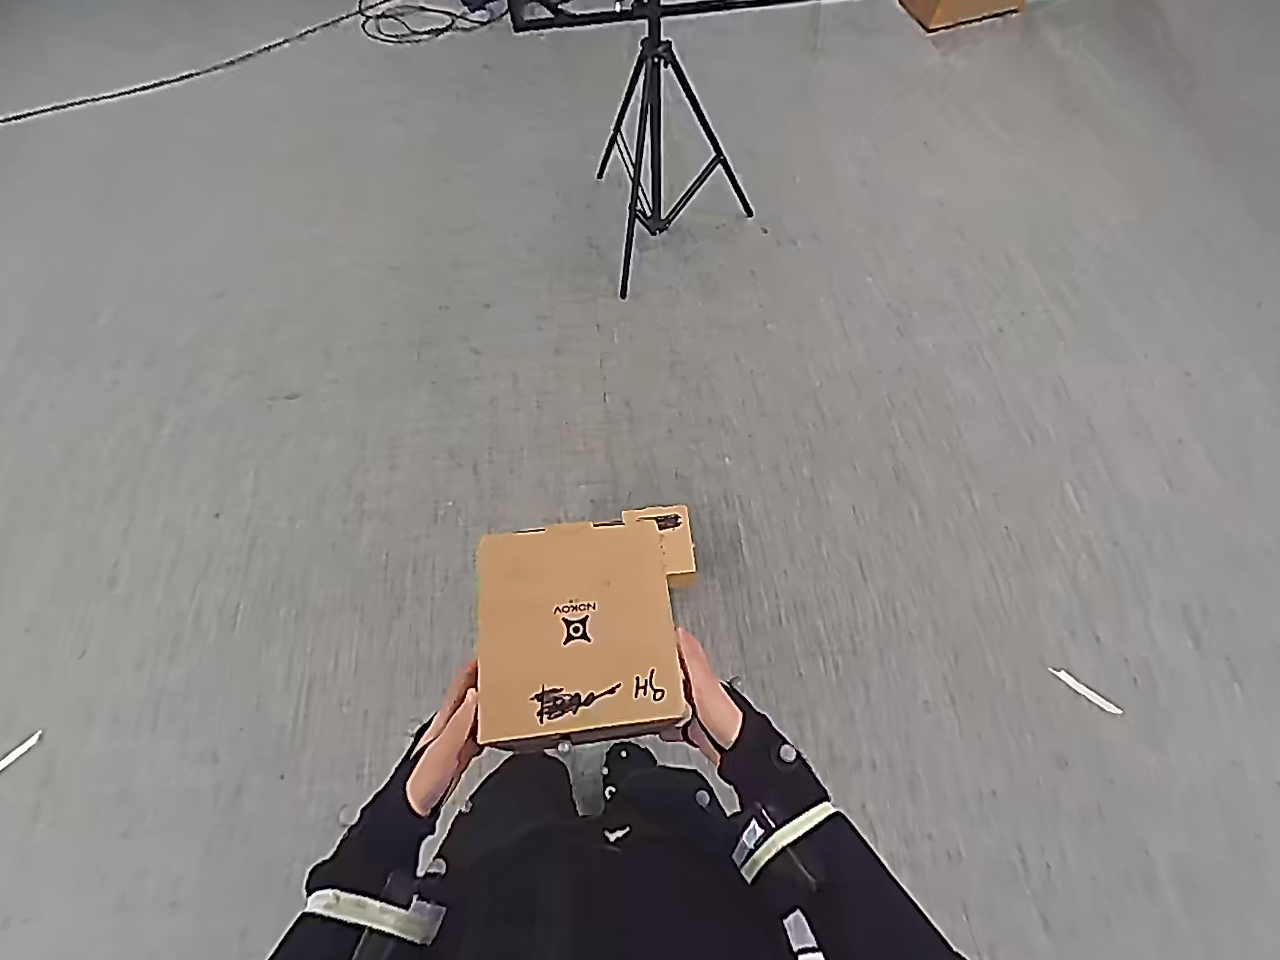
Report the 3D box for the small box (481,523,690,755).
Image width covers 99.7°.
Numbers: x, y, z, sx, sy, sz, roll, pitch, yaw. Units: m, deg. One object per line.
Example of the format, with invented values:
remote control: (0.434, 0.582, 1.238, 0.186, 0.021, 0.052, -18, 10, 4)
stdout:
small box: (-0.056, 0.159, 0.529, 0.168, 0.176, 0.179, -4, 61, -7)
